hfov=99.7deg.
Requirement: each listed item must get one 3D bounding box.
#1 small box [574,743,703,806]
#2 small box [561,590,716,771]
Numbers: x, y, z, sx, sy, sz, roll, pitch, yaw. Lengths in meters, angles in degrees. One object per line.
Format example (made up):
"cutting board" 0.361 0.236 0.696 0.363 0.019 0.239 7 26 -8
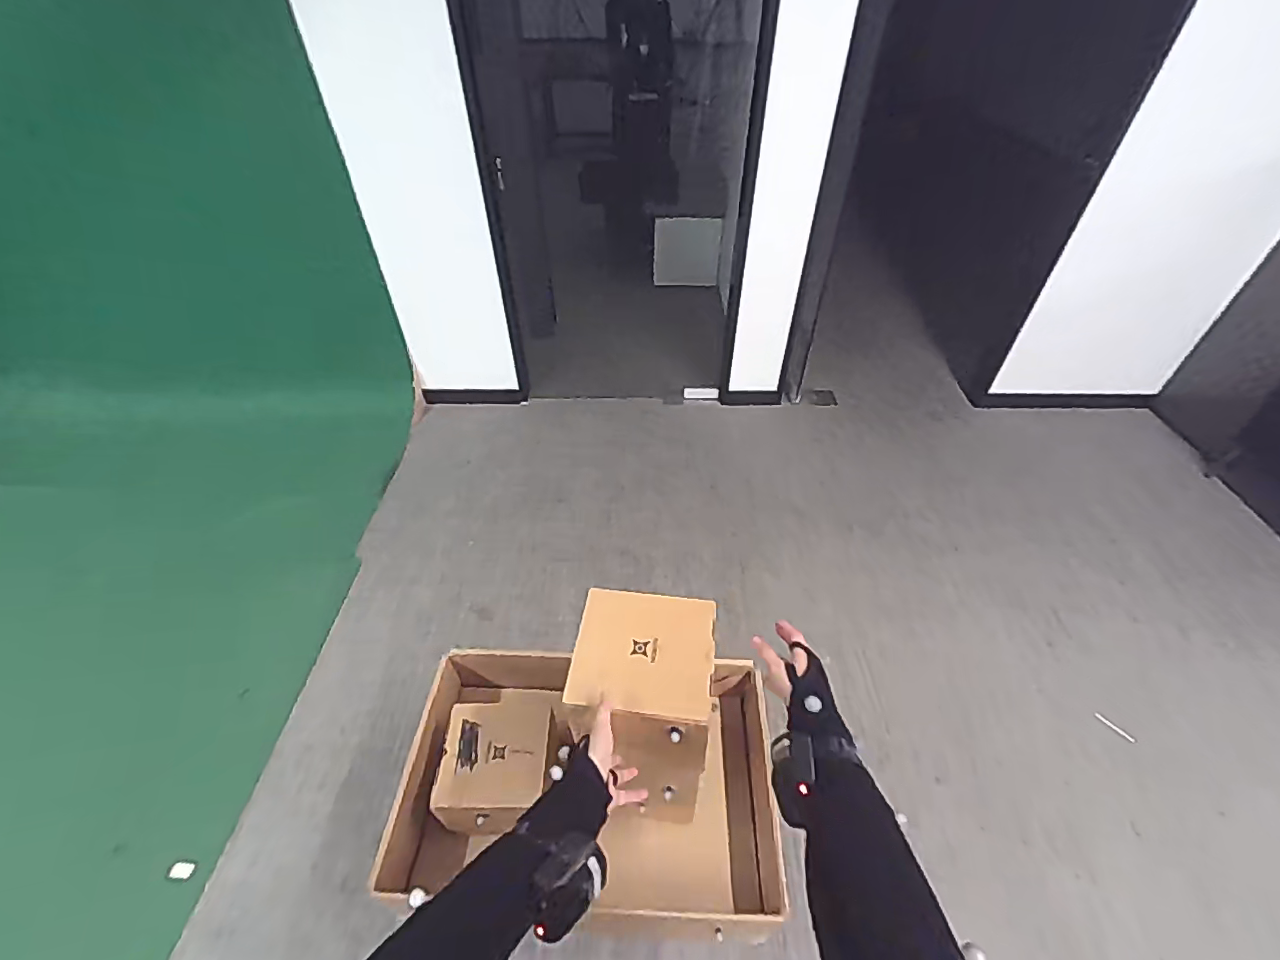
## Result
"small box" 0.009 0.387 0.839 0.179 0.176 0.168 3 44 7
"small box" 0.007 0.270 0.728 0.179 0.176 0.168 5 44 7
